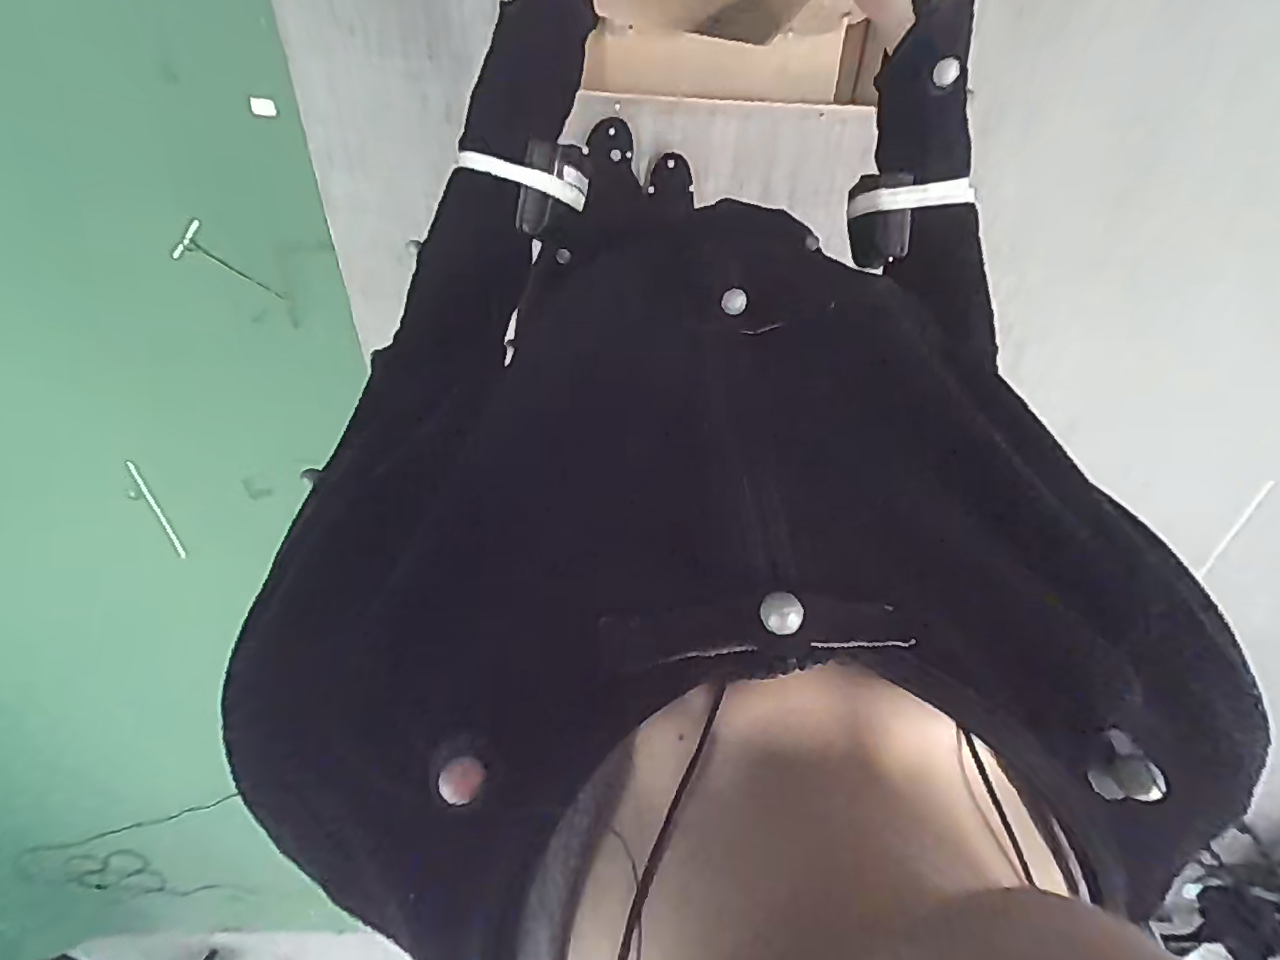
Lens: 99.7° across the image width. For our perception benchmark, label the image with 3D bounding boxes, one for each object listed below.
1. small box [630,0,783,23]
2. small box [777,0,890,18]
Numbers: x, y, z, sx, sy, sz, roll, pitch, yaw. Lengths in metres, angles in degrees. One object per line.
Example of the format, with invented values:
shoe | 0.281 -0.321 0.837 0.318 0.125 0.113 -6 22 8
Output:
small box | 0.060 -0.479 0.396 0.179 0.176 0.168 1 109 -10
small box | 0.294 -0.820 0.809 0.168 0.176 0.179 2 122 -2
